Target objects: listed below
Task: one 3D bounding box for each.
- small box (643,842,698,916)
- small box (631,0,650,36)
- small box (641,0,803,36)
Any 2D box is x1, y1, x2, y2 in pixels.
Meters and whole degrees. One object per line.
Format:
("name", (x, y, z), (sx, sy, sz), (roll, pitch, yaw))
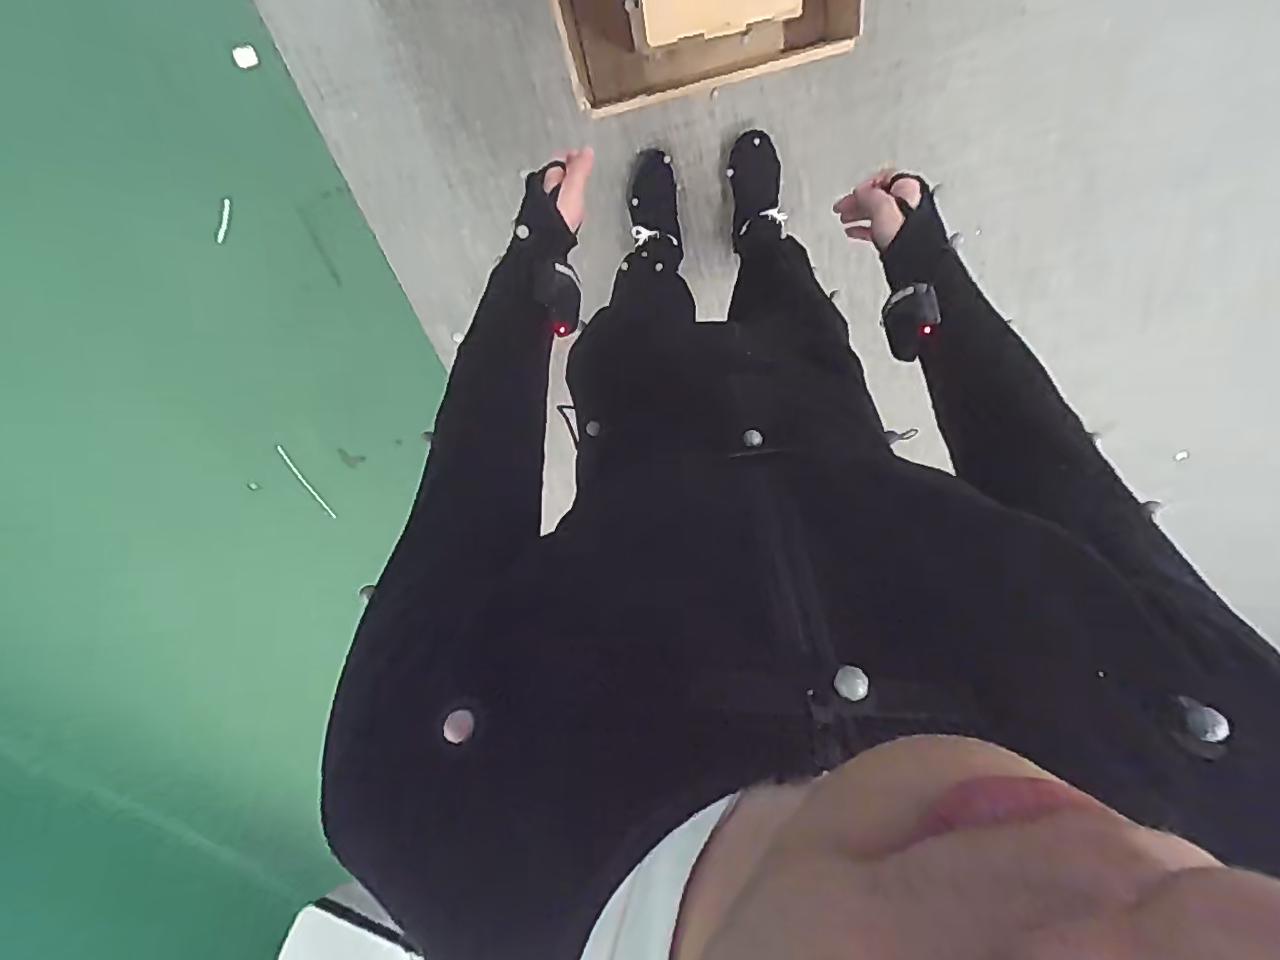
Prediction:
("small box", (0.104, 1.425, 1.940), (0.168, 0.176, 0.179), (-13, 124, 8))
("small box", (0.062, -0.700, 0.696), (0.168, 0.176, 0.179), (-10, 126, 6))
("small box", (0.076, -0.595, 0.572), (0.168, 0.176, 0.179), (-9, 127, 4))
